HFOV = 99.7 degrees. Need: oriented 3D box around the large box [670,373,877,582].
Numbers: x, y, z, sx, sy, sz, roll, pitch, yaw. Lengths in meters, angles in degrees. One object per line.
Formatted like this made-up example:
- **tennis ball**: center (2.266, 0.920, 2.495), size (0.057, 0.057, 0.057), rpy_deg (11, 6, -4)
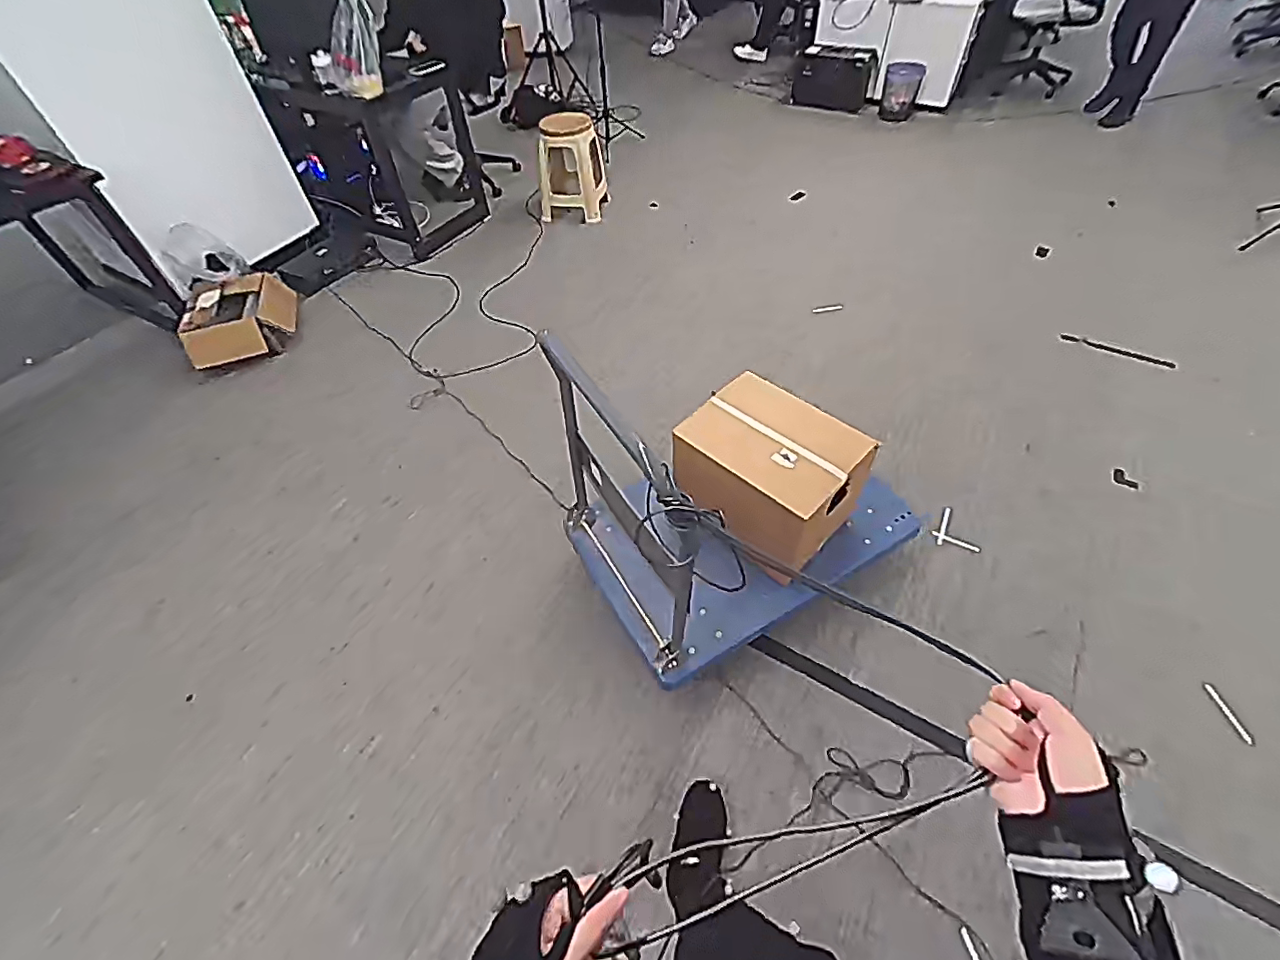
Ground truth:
- **large box**: center (0.327, -0.011, 1.437), size (0.408, 0.320, 0.320), rpy_deg (37, 63, 27)
